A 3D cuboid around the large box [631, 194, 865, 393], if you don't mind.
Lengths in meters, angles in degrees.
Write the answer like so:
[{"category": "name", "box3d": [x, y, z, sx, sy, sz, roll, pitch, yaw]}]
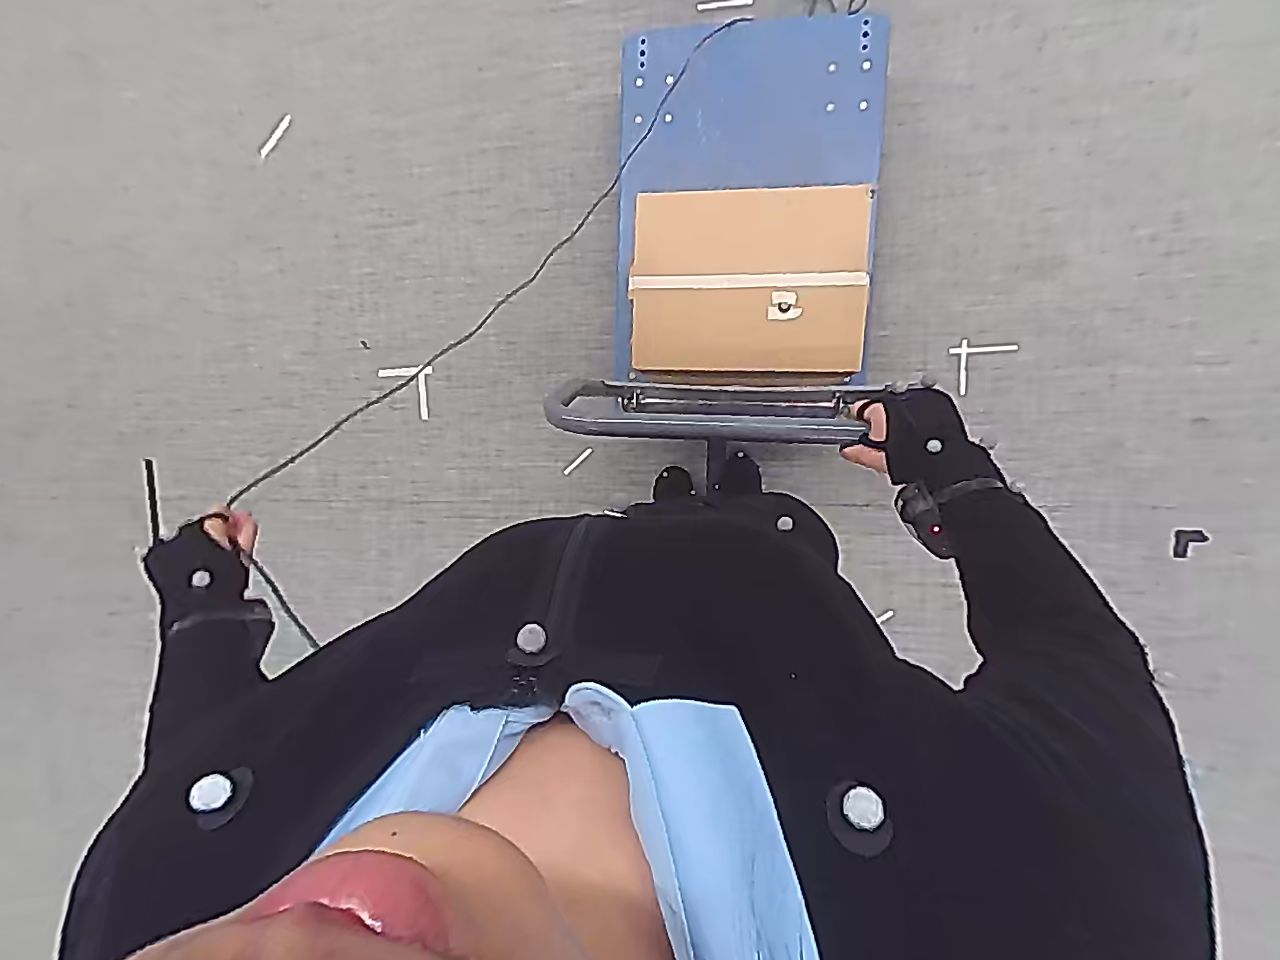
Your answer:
[{"category": "large box", "box3d": [0.200, -0.345, 1.094, 0.408, 0.320, 0.320, 2, 96, 8]}]
